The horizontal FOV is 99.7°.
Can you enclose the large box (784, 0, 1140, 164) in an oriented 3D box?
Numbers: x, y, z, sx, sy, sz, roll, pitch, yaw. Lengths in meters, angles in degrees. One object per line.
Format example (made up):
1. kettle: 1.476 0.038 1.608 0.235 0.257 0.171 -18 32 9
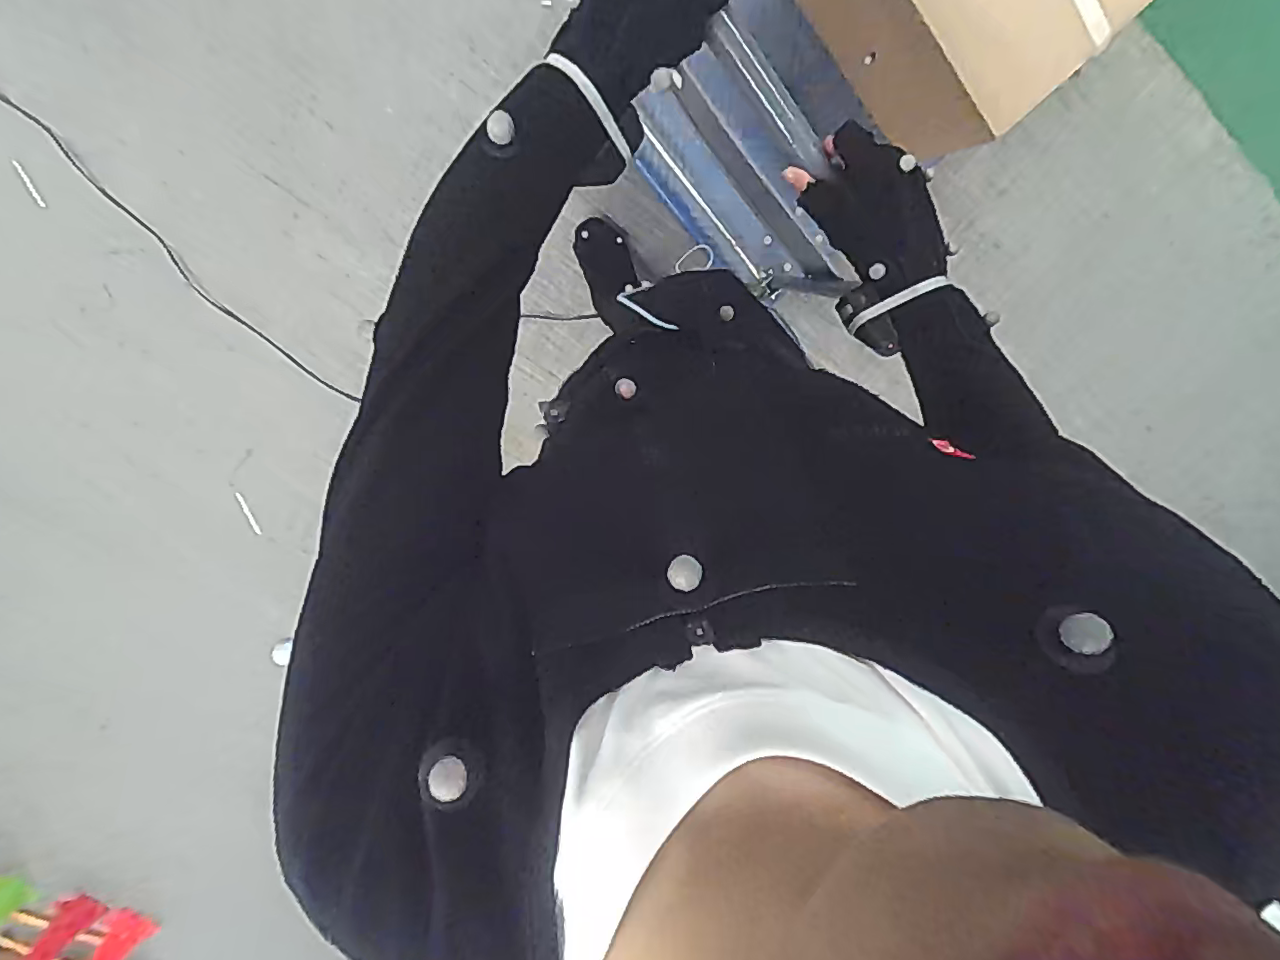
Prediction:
1. large box: 0.476 -0.776 0.823 0.320 0.320 0.408 -42 106 17
